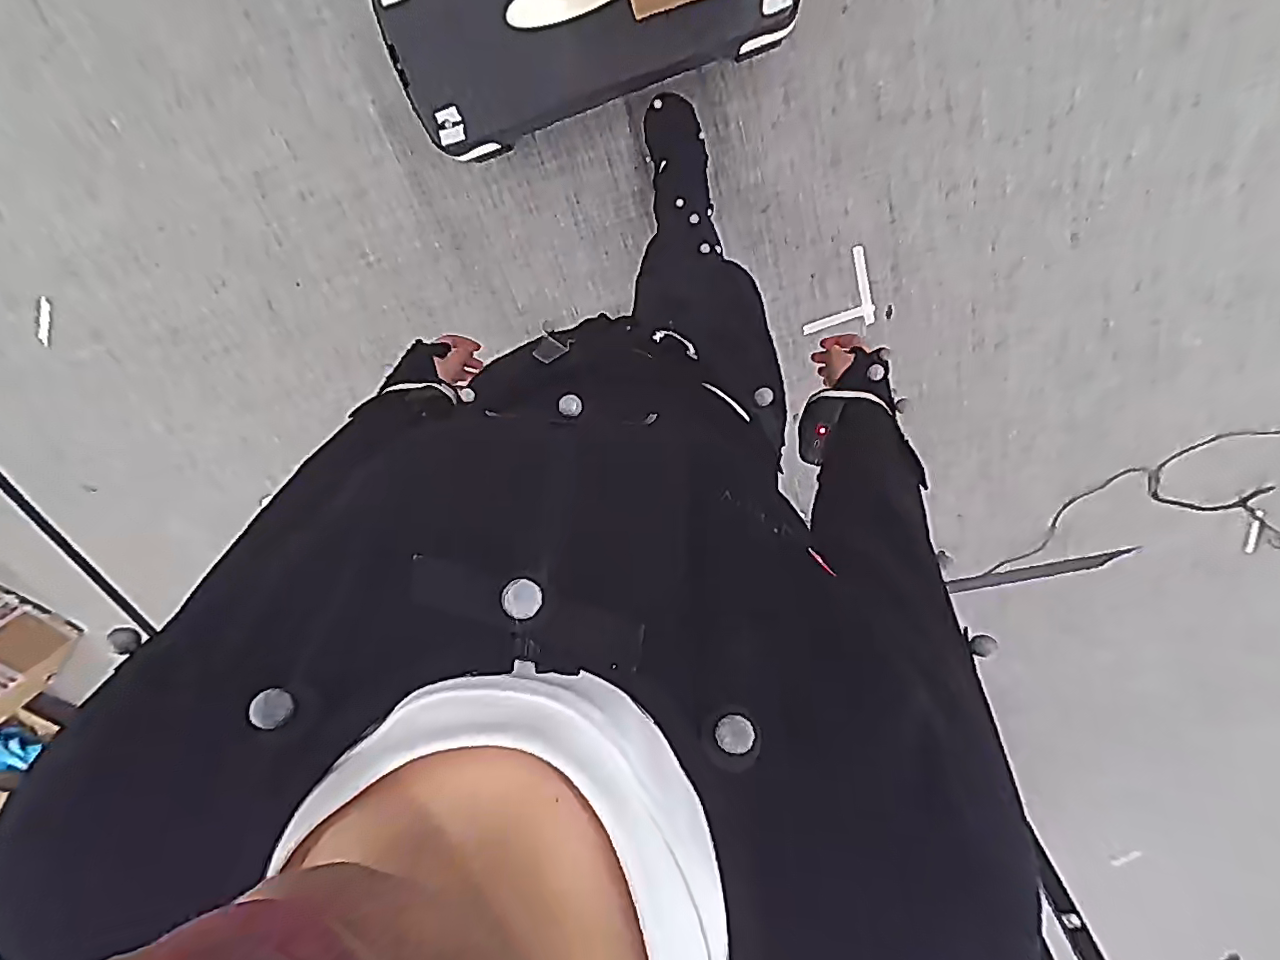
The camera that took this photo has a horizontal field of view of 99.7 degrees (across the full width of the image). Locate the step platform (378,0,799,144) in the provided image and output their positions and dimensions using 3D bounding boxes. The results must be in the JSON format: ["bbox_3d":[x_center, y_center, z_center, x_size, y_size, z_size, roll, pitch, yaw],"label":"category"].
[{"bbox_3d":[-0.082,-0.824,0.897,0.684,0.204,0.286,-14,117,12],"label":"step platform"}]
